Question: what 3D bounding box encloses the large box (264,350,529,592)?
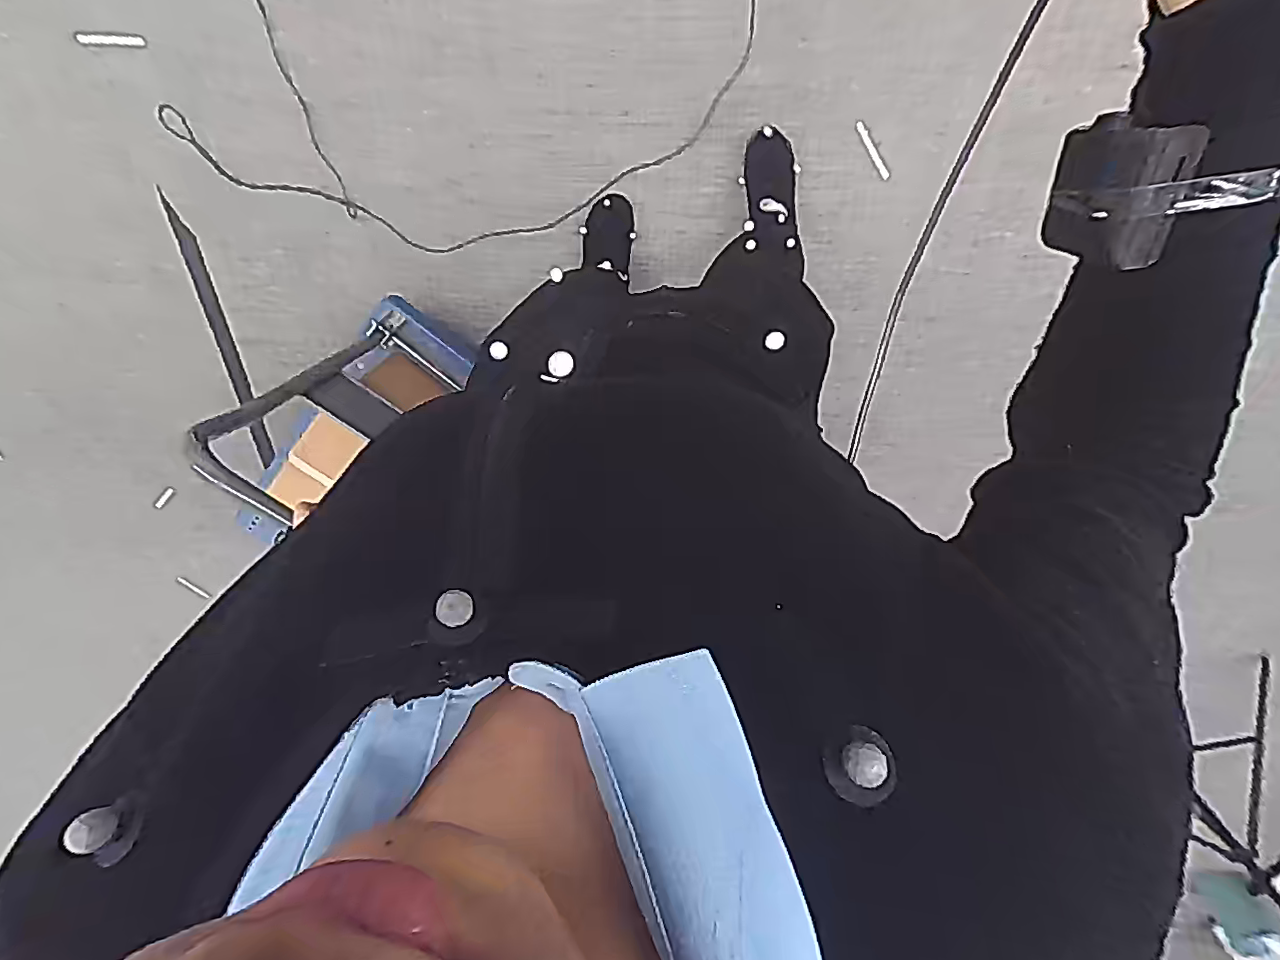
[{"bbox_3d":[-0.530,-0.022,1.255,0.408,0.320,0.320,40,114,-19],"label":"large box"}]
